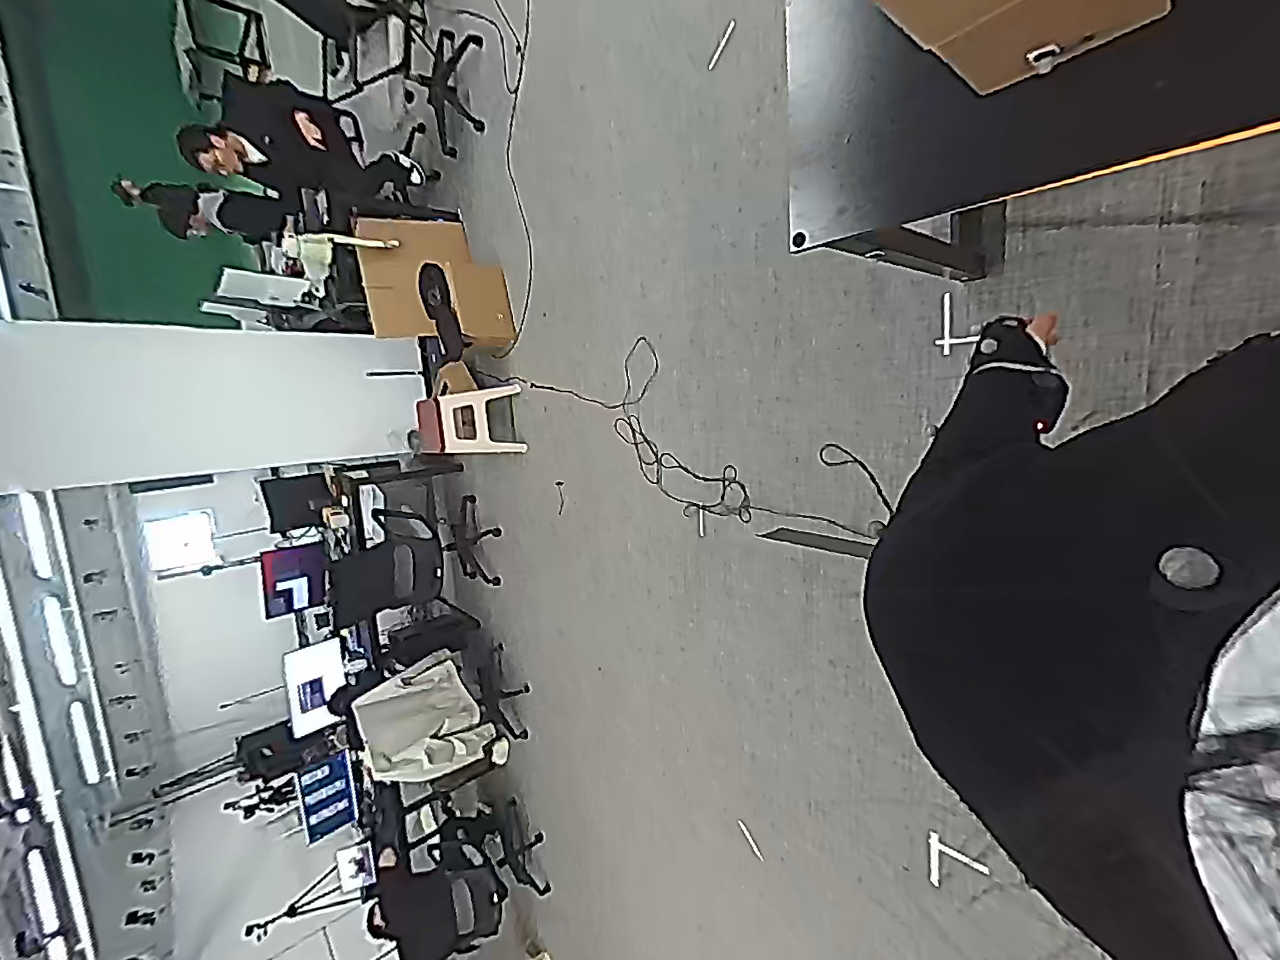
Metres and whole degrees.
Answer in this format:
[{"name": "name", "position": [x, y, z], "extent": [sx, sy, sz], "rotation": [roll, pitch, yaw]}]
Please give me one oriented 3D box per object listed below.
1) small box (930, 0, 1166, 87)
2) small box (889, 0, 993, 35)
[{"name": "small box", "position": [0.402, -0.541, 0.535], "extent": [0.168, 0.176, 0.179], "rotation": [1, 100, 50]}, {"name": "small box", "position": [0.278, -0.514, 0.430], "extent": [0.179, 0.176, 0.168], "rotation": [0, 98, 49]}]
